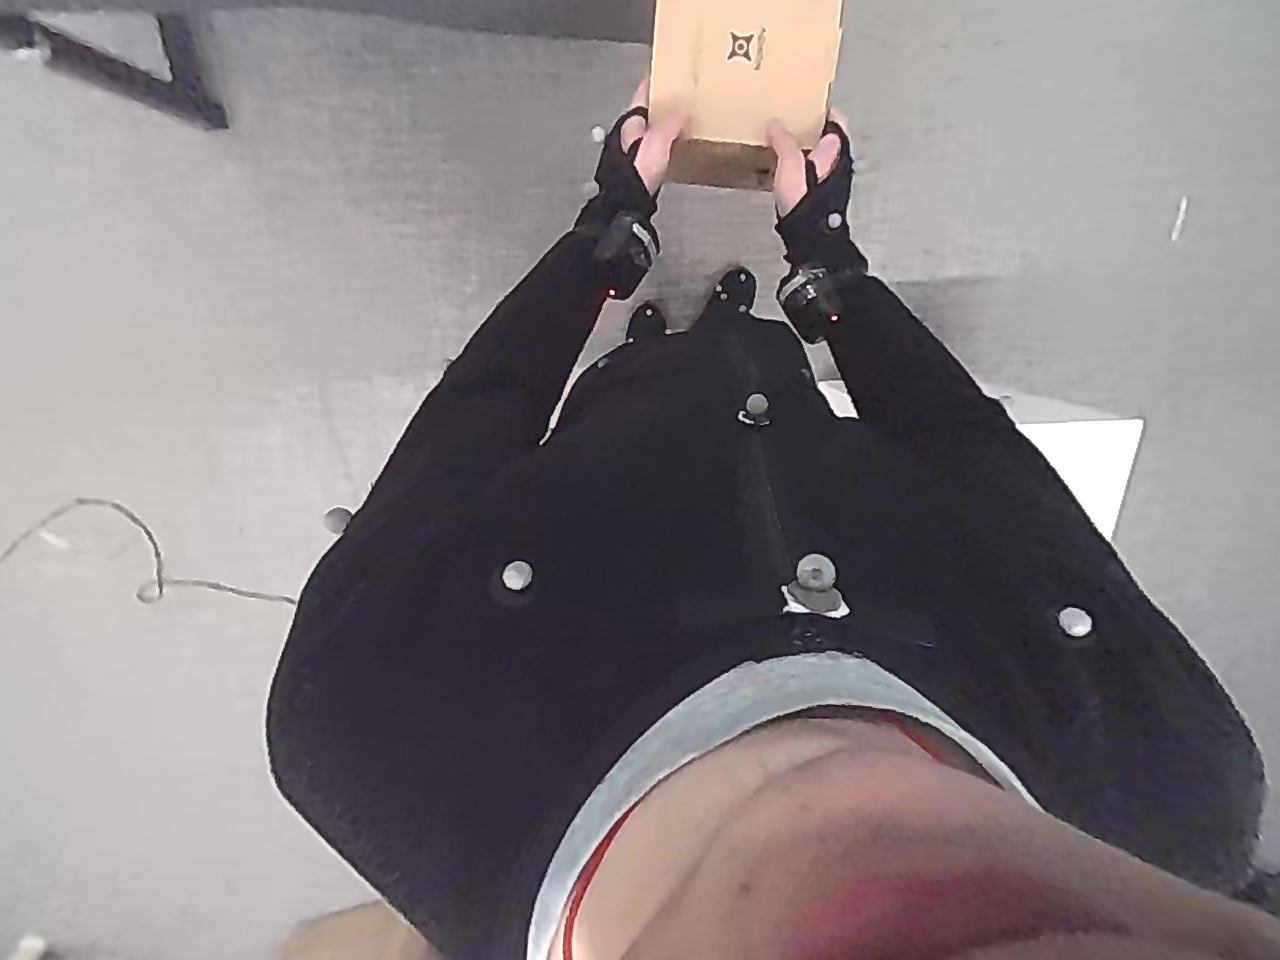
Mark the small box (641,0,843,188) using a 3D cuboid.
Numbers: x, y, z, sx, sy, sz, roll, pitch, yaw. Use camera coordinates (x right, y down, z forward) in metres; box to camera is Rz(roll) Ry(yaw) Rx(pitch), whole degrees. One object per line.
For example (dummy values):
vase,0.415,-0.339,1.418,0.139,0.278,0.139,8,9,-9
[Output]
small box,0.097,-0.424,0.574,0.179,0.176,0.168,5,104,2
